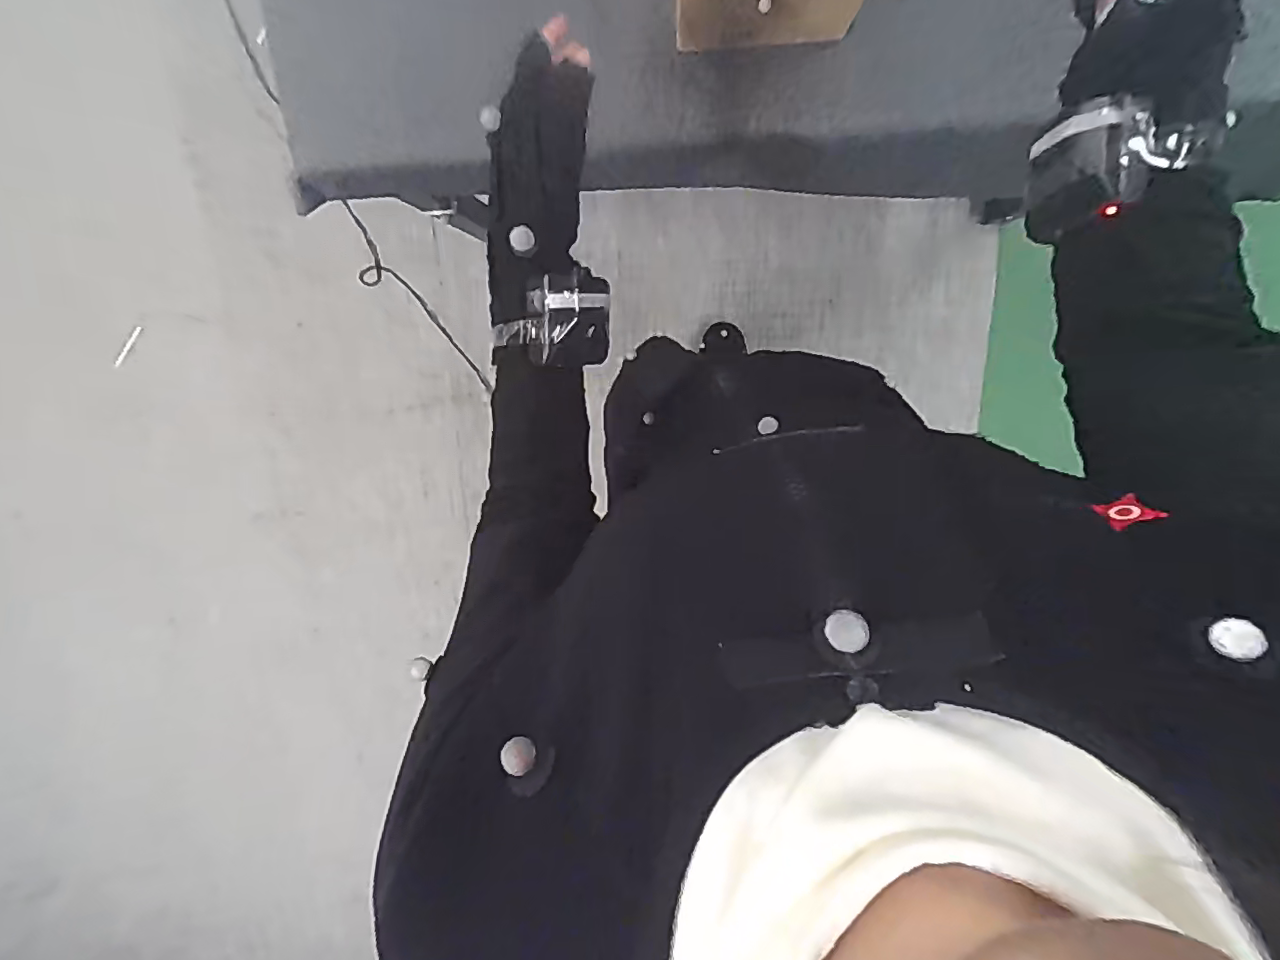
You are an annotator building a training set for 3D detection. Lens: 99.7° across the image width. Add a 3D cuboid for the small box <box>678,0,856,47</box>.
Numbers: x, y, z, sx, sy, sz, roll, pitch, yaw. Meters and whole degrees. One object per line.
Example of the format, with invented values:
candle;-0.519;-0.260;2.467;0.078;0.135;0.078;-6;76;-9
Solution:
small box;0.122;-0.522;0.475;0.179;0.176;0.168;-4;105;4
